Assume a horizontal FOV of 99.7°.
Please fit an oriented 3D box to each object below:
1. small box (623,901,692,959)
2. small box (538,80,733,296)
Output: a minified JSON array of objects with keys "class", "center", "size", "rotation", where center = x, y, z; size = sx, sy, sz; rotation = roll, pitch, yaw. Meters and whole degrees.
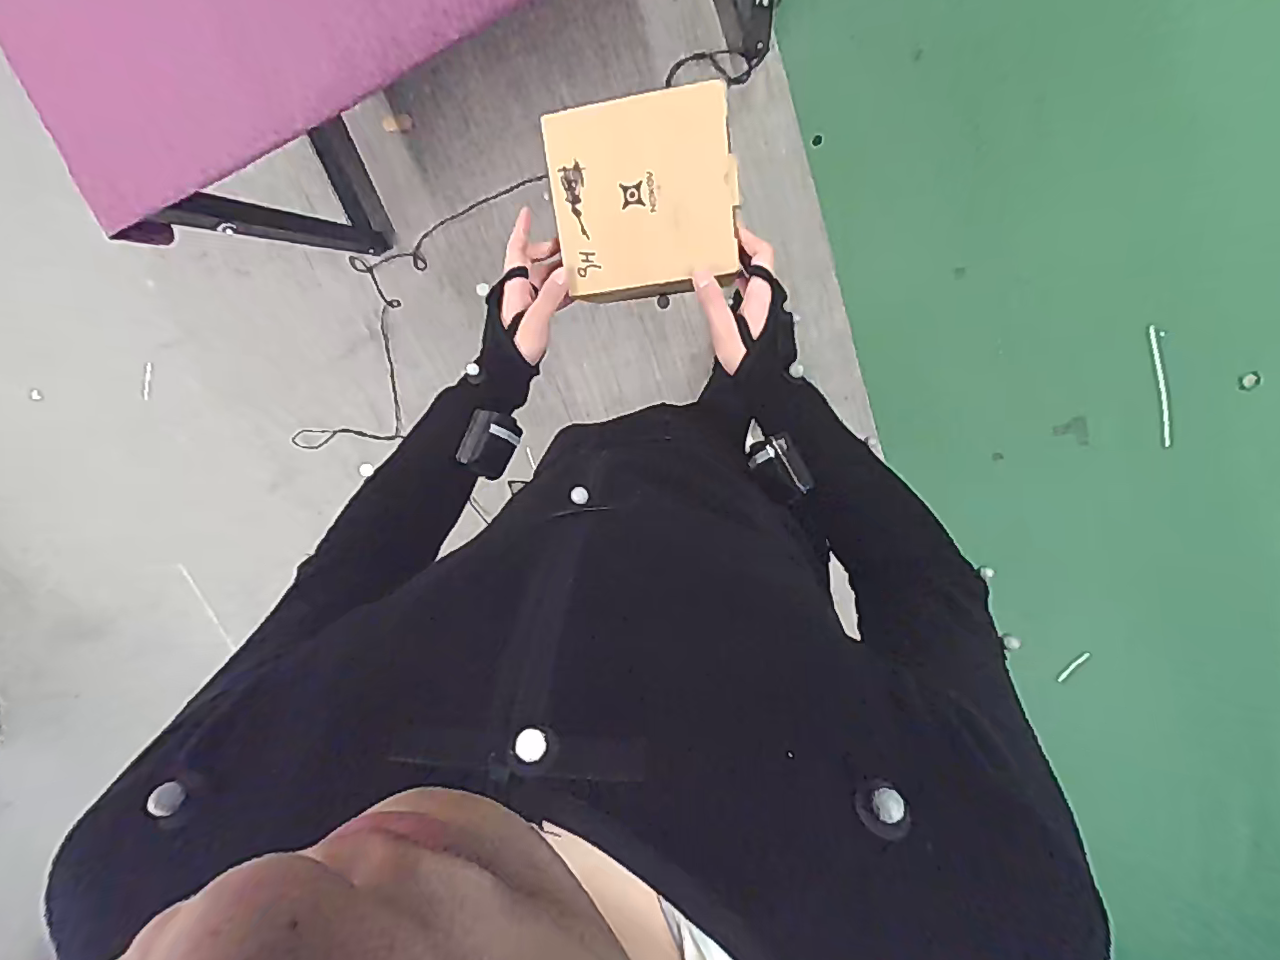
[{"class":"small box","center":[0.055,1.370,1.569],"size":[0.168,0.176,0.179],"rotation":[-5,106,14]},{"class":"small box","center":[0.006,-0.302,0.599],"size":[0.179,0.176,0.168],"rotation":[-5,106,10]}]
